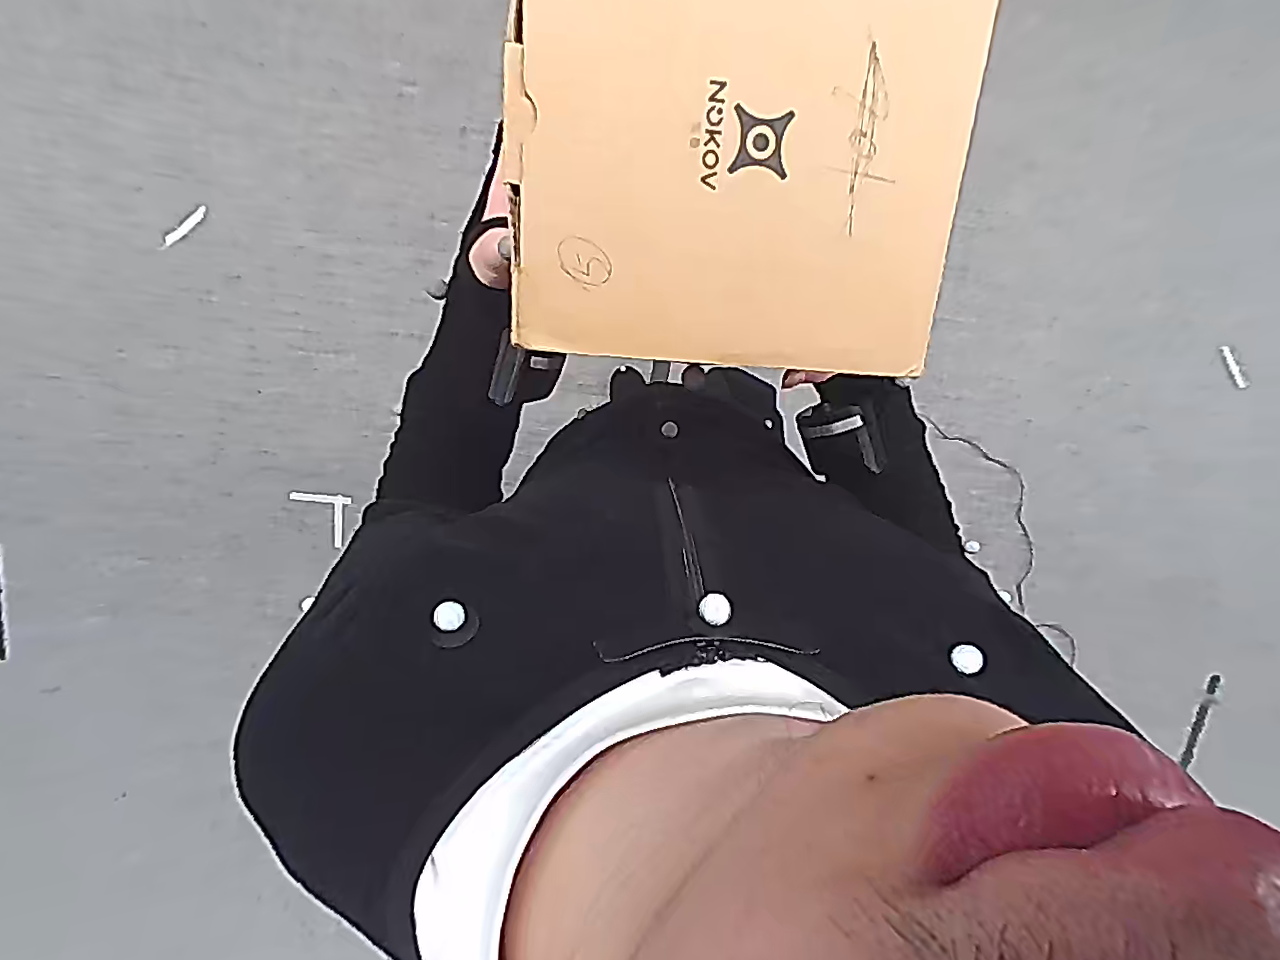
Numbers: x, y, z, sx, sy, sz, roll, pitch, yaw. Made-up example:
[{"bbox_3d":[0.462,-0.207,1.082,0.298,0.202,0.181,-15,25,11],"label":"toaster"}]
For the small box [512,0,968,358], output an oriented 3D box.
[{"bbox_3d":[0.030,-0.158,0.291,0.179,0.176,0.168,1,106,-8],"label":"small box"}]
